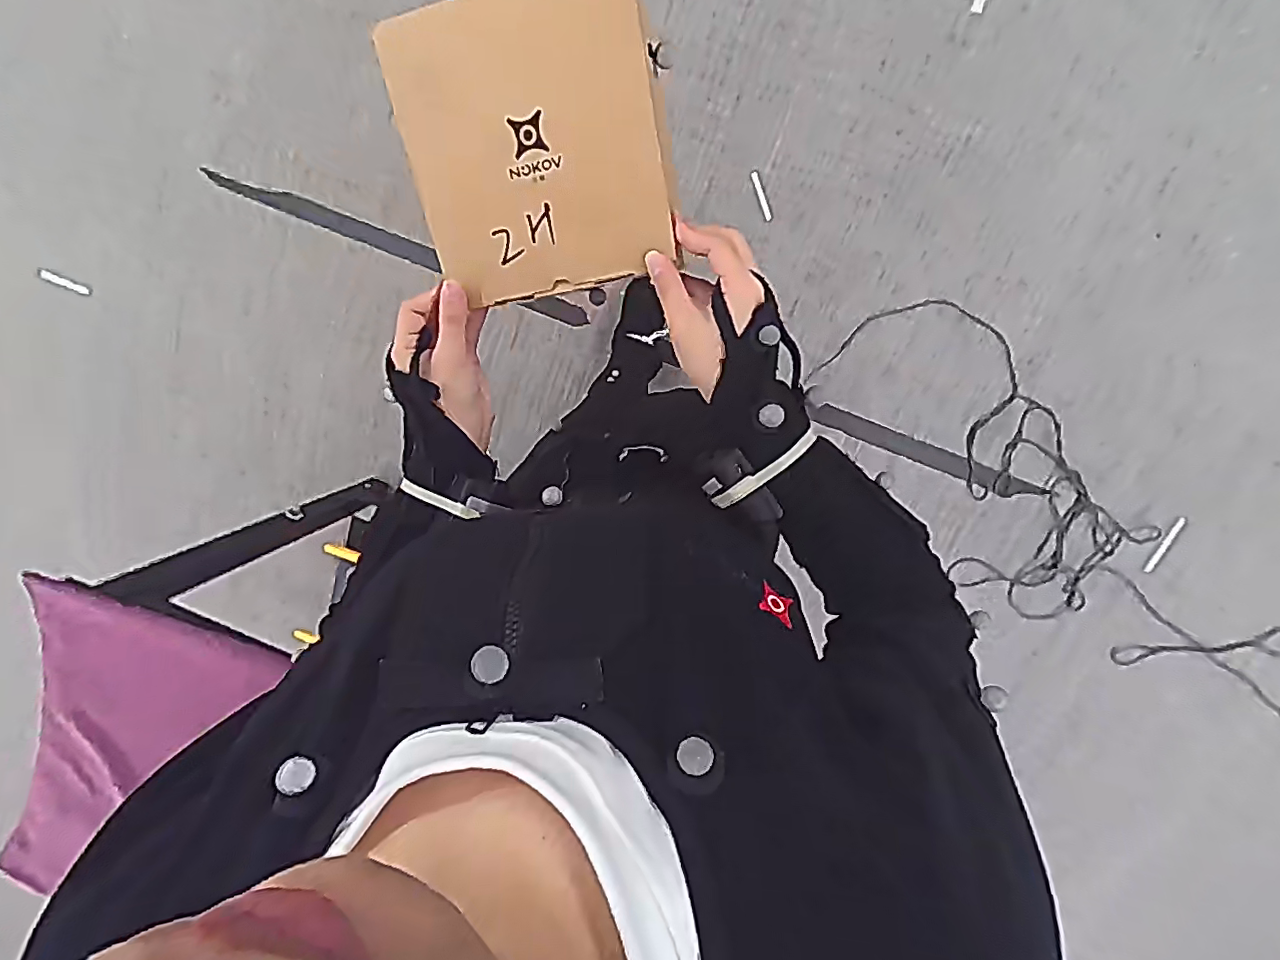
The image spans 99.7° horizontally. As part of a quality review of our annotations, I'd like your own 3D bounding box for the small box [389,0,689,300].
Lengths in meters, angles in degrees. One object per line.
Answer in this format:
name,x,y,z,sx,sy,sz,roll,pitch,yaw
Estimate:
small box,-0.055,-0.248,0.426,0.168,0.176,0.179,-7,111,11
